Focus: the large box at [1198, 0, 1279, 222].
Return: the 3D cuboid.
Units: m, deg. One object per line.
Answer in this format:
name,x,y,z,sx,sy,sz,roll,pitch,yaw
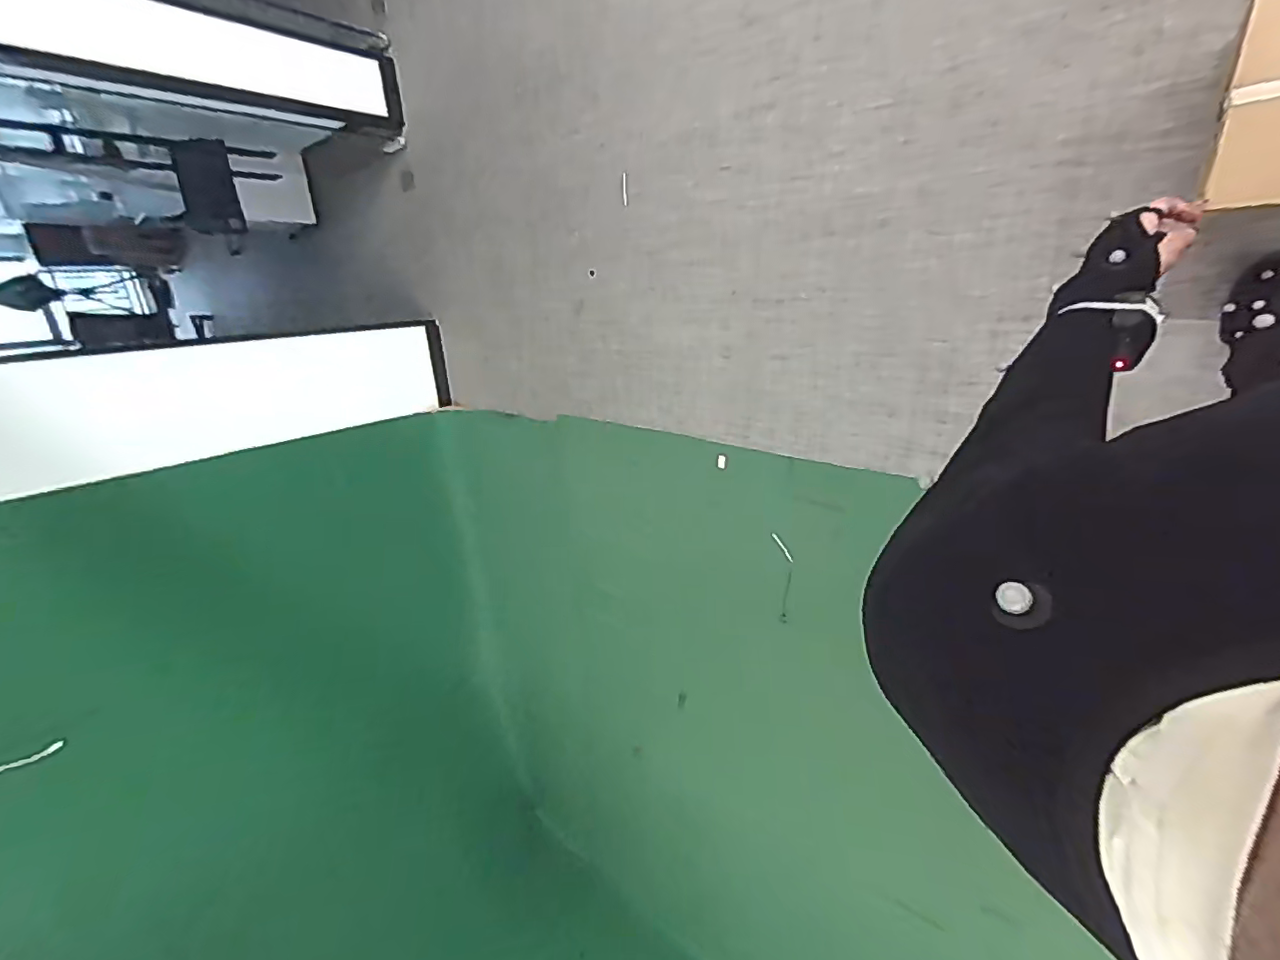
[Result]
large box,1.166,-0.591,0.814,0.408,0.320,0.320,13,113,40
